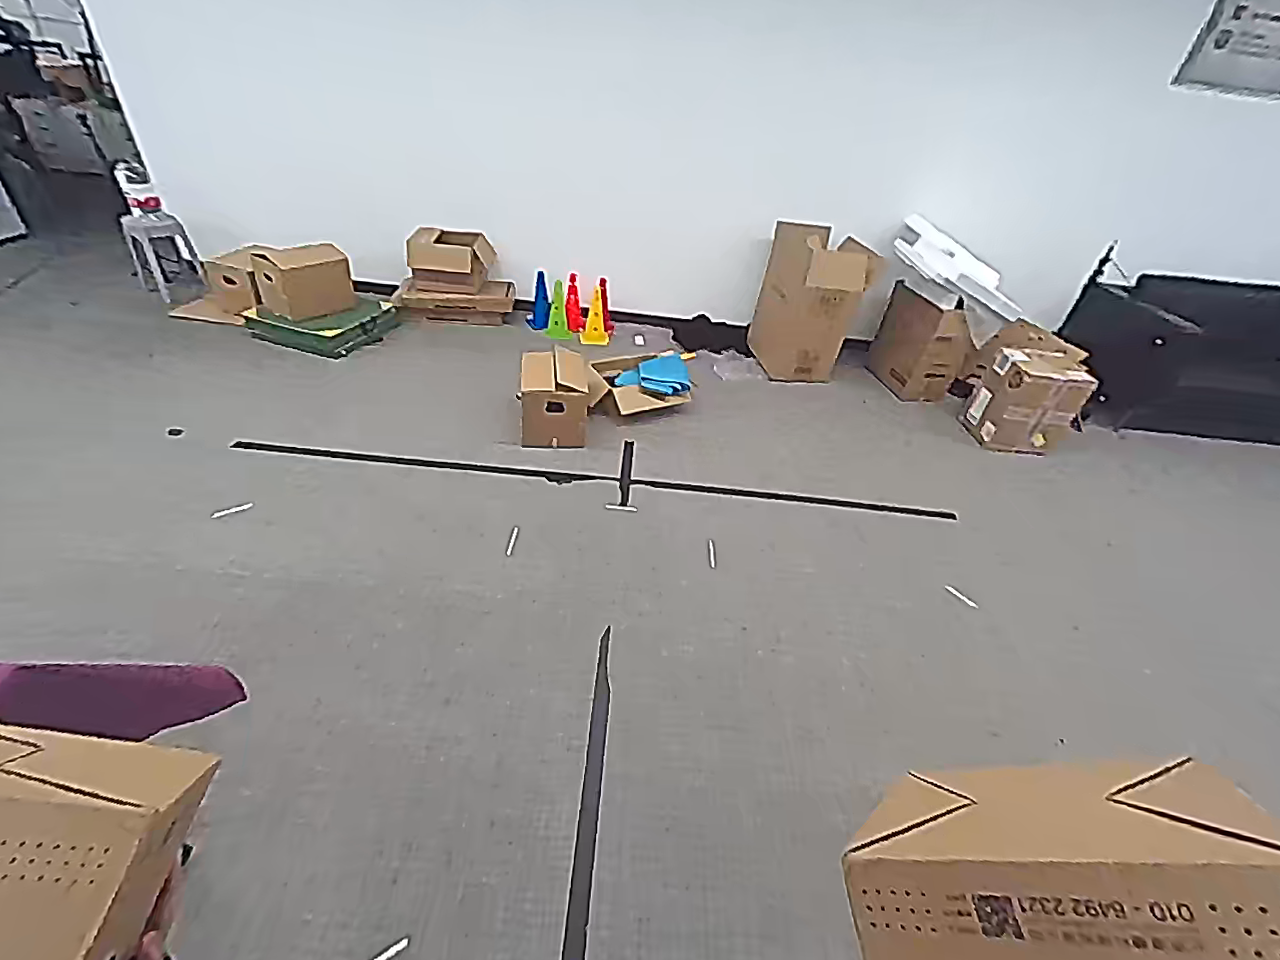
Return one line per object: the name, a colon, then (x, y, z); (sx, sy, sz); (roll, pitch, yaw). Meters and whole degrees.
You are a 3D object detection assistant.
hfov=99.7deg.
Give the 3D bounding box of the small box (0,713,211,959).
small box: (-0.365, 0.227, 0.282); (0.179, 0.168, 0.176); (21, 64, -21)
